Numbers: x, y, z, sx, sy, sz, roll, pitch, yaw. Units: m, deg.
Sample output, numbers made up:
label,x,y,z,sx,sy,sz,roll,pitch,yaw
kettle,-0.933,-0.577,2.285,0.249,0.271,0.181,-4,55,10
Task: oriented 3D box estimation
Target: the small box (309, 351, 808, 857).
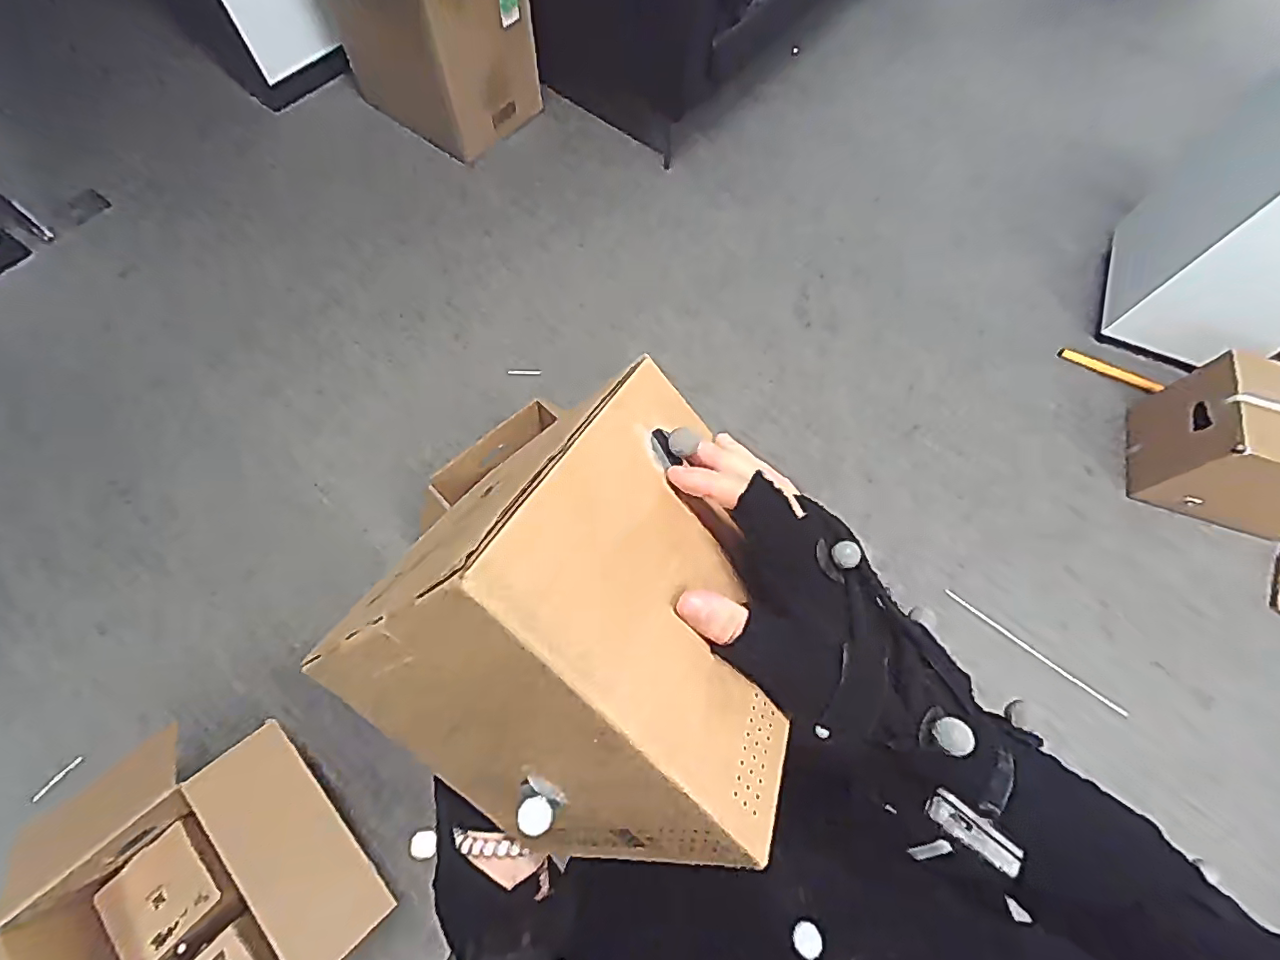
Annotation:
label,x,y,z,sx,sy,sz,roll,pitch,yaw
small box,-0.027,0.066,0.300,0.176,0.168,0.179,48,40,-15
